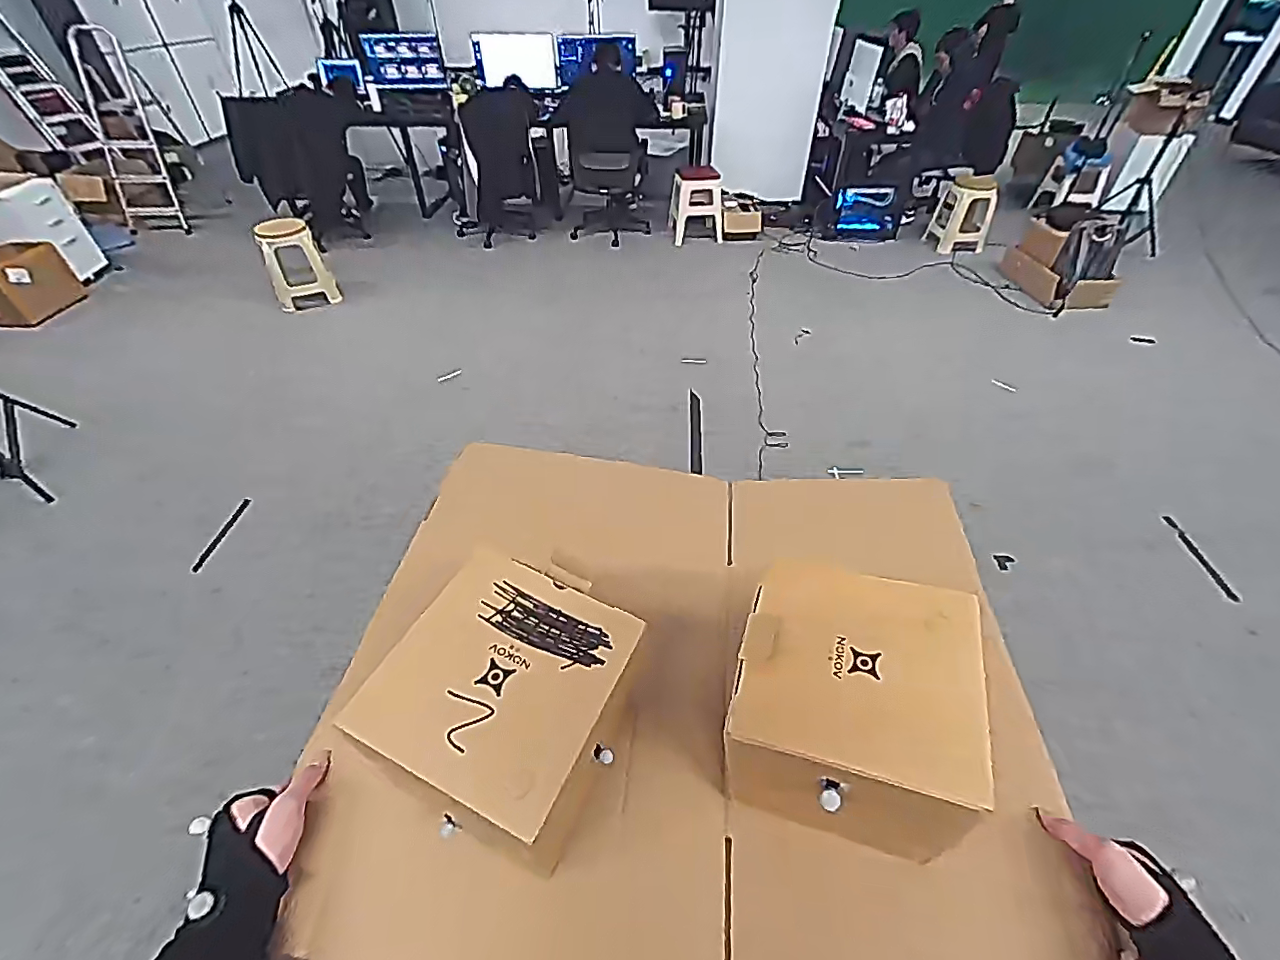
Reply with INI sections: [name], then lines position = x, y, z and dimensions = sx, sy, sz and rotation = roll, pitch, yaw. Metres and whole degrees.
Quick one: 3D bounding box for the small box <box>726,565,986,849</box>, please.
[small box]
position = 0.185, 0.204, 0.488
dimensions = 0.179, 0.176, 0.168
rotation = 7, 47, 20
